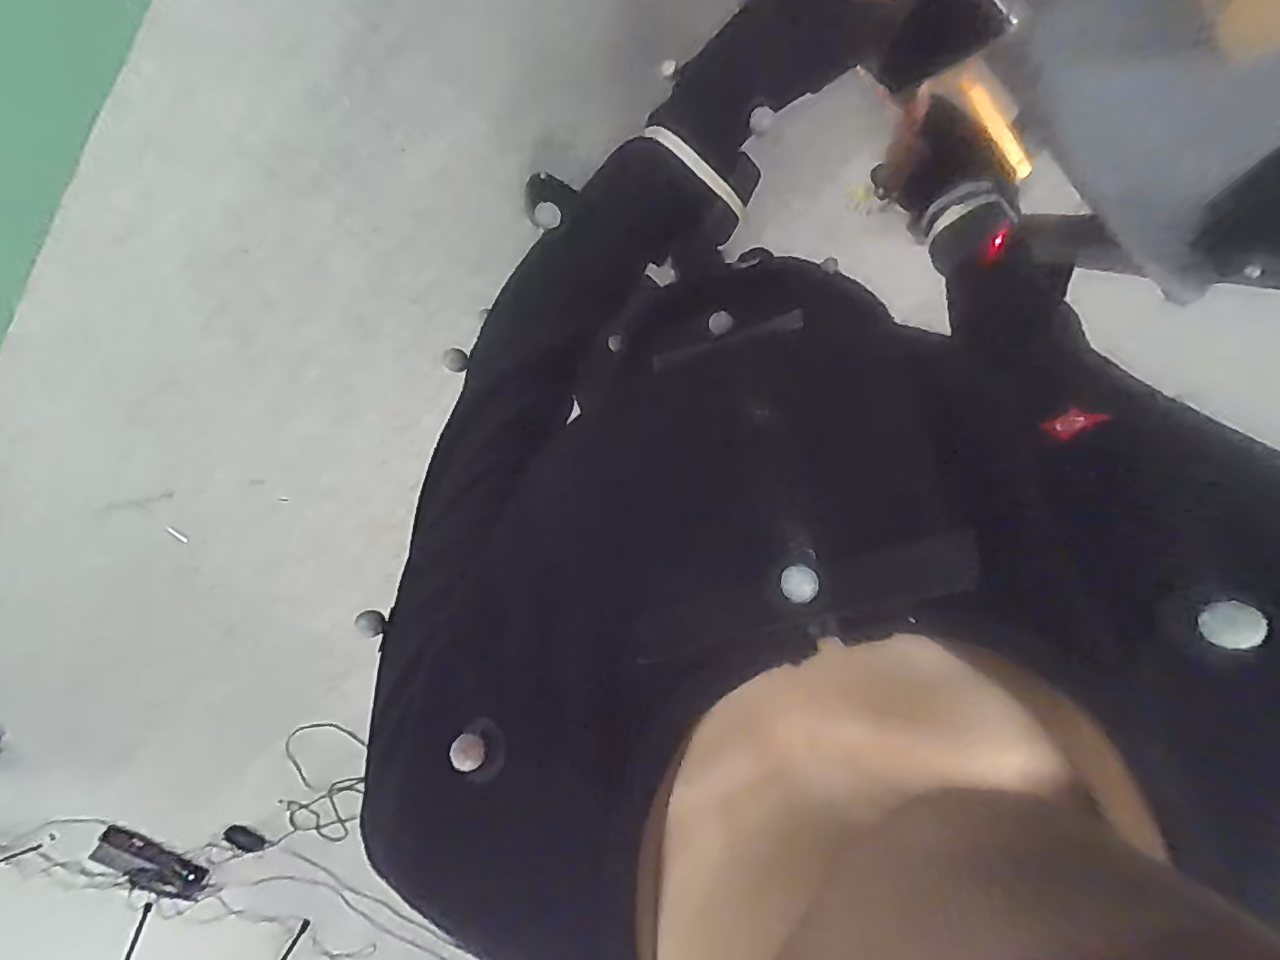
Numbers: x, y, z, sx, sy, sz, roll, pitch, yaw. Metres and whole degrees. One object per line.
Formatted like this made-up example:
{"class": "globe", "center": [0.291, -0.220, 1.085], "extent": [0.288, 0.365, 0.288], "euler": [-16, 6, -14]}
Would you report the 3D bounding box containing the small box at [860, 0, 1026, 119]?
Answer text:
{"class": "small box", "center": [0.509, -0.772, 0.941], "extent": [0.179, 0.176, 0.168], "euler": [-38, 109, 19]}
